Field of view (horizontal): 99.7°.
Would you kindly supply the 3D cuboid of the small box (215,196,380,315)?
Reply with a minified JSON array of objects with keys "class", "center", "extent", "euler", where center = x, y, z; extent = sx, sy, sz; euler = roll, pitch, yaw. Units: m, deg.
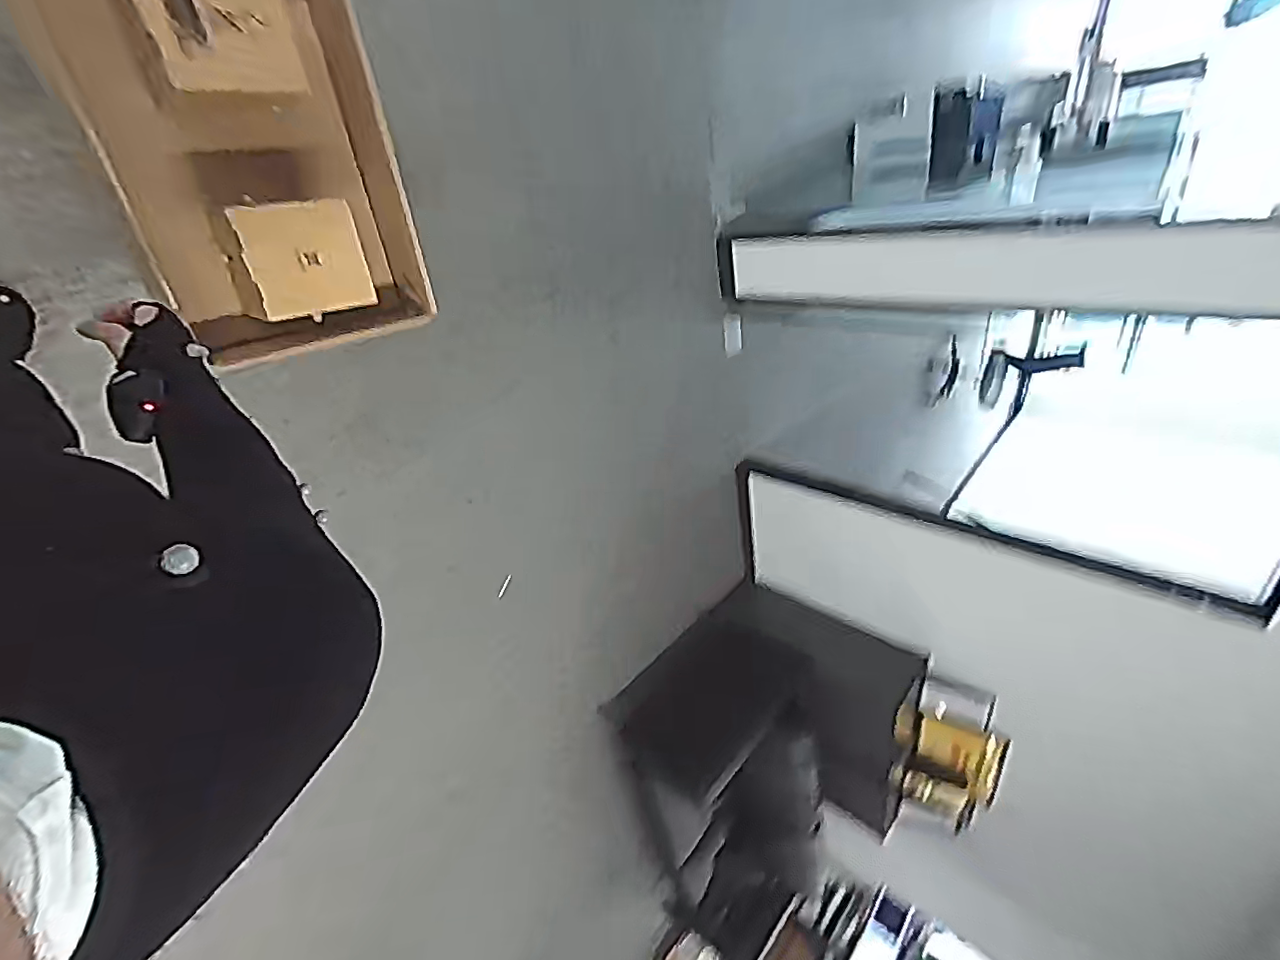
[{"class":"small box","center":[-0.585,-0.391,0.928],"extent":[0.179,0.176,0.168],"euler":[-27,125,-35]}]
